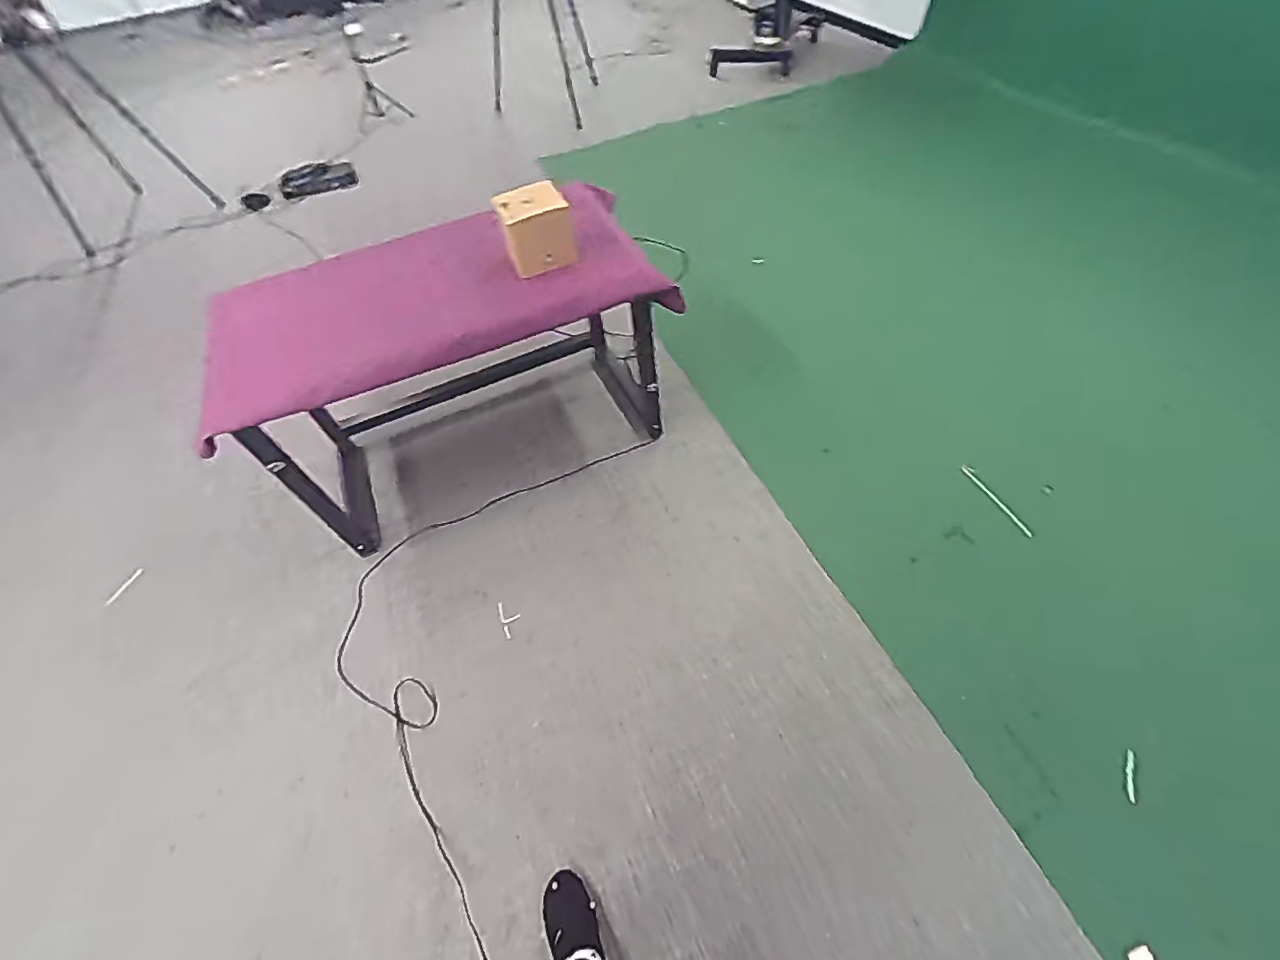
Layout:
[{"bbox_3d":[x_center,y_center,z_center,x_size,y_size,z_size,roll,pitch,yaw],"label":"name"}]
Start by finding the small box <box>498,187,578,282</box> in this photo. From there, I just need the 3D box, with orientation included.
[{"bbox_3d":[-0.283,-0.696,1.539,0.179,0.176,0.168,-21,54,-10],"label":"small box"}]
